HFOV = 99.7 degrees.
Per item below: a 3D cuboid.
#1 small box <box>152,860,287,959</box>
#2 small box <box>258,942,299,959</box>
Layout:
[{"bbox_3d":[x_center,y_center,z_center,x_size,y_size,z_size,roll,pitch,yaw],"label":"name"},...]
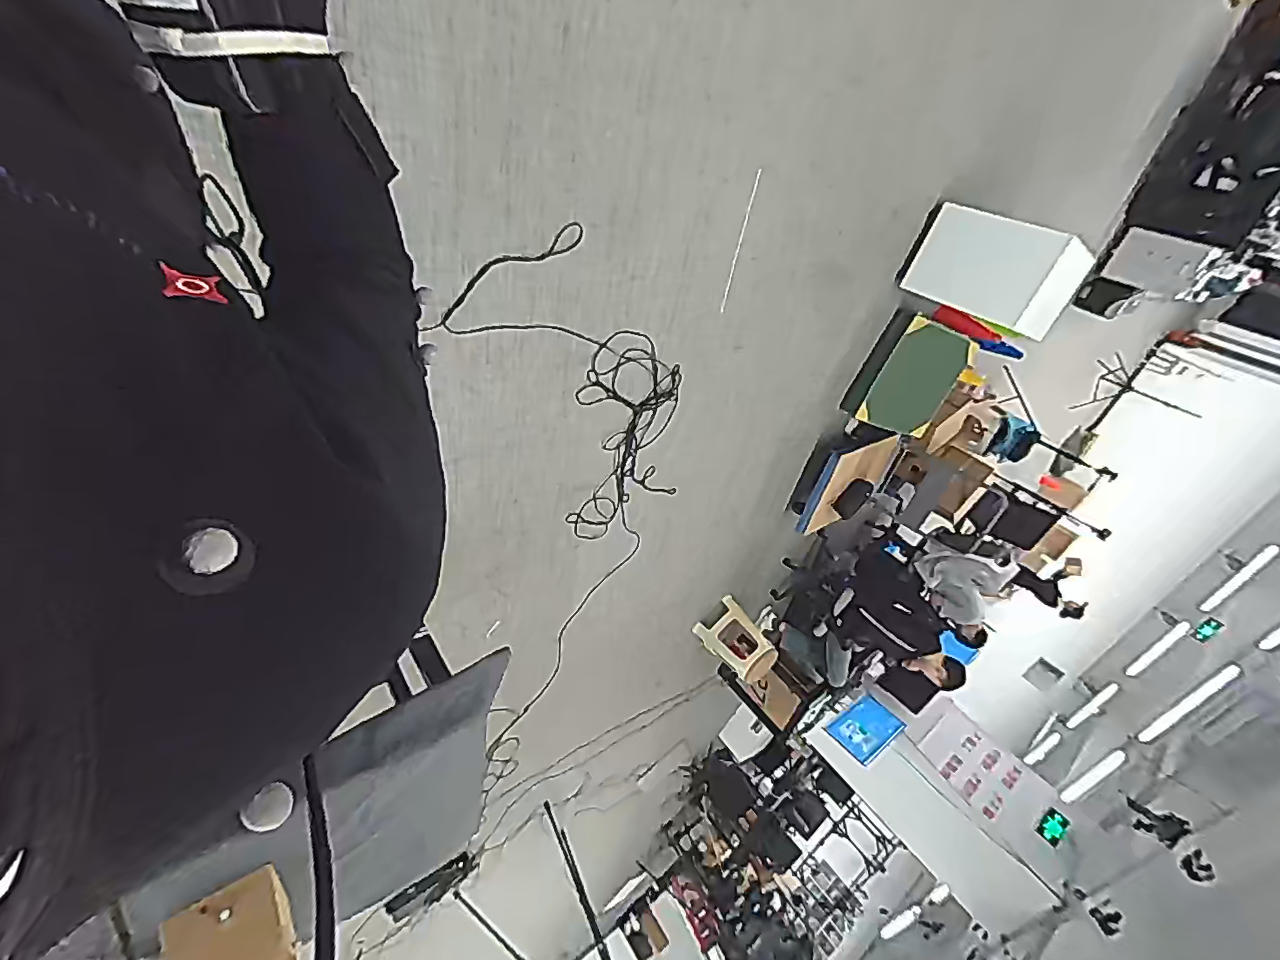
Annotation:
[{"bbox_3d":[-0.752,0.842,0.981,0.168,0.176,0.179,-16,134,-37],"label":"small box"},{"bbox_3d":[-0.649,0.930,0.892,0.179,0.176,0.168,-18,137,-36],"label":"small box"}]
